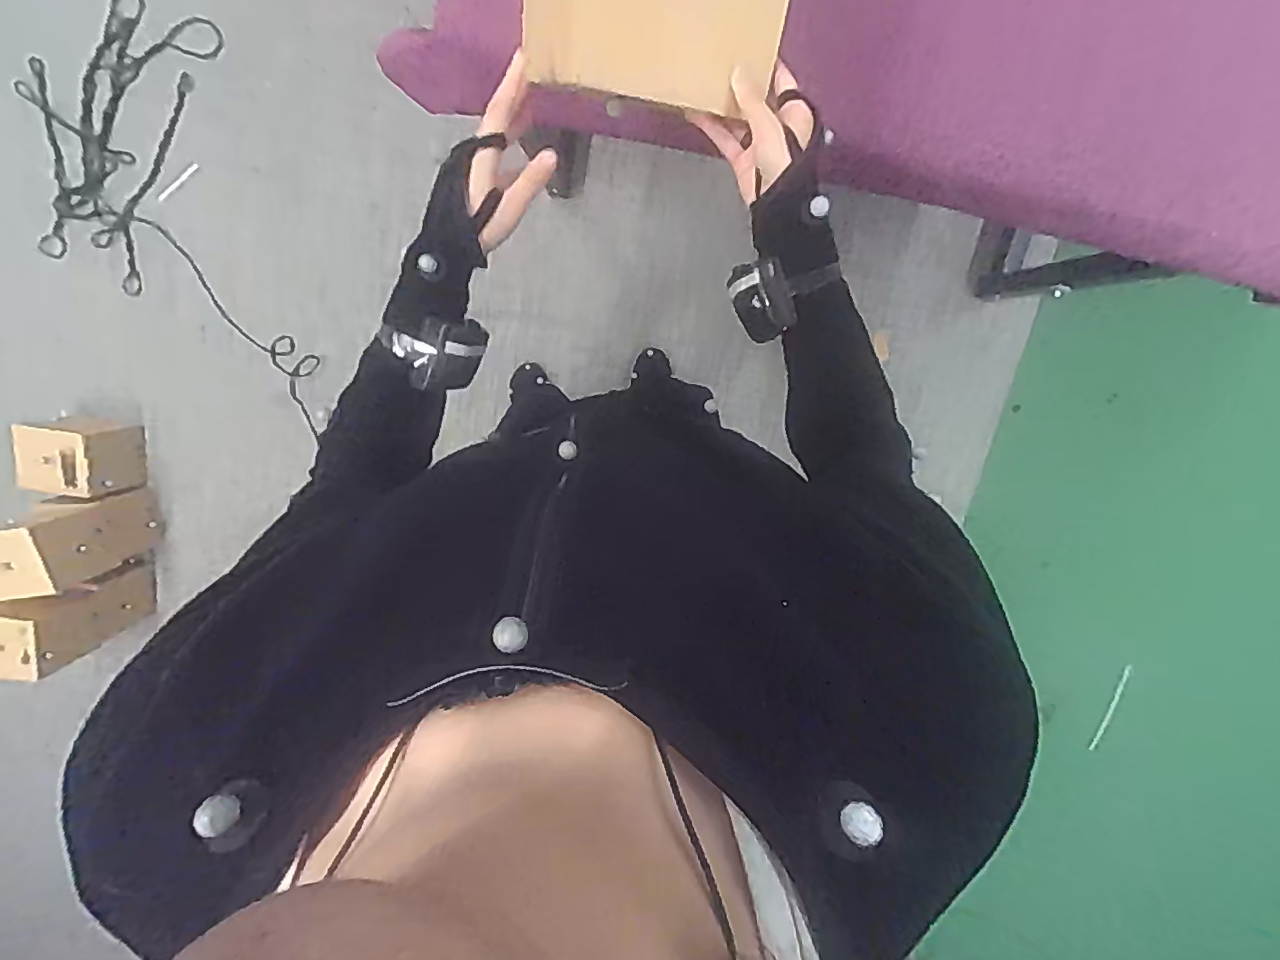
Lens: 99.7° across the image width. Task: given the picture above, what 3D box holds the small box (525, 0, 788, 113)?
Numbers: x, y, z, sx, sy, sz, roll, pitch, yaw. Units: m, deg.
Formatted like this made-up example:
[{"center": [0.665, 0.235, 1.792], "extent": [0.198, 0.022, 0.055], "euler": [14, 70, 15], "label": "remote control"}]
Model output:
[{"center": [0.009, -0.413, 0.431], "extent": [0.168, 0.176, 0.179], "euler": [-6, 125, -25], "label": "small box"}]

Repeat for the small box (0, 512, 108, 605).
[{"center": [-1.436, 0.184, 1.290], "extent": [0.179, 0.176, 0.168], "euler": [-7, 104, 2], "label": "small box"}]

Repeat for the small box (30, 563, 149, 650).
[{"center": [-1.509, 0.339, 1.493], "extent": [0.168, 0.176, 0.179], "euler": [10, 104, -2], "label": "small box"}]
